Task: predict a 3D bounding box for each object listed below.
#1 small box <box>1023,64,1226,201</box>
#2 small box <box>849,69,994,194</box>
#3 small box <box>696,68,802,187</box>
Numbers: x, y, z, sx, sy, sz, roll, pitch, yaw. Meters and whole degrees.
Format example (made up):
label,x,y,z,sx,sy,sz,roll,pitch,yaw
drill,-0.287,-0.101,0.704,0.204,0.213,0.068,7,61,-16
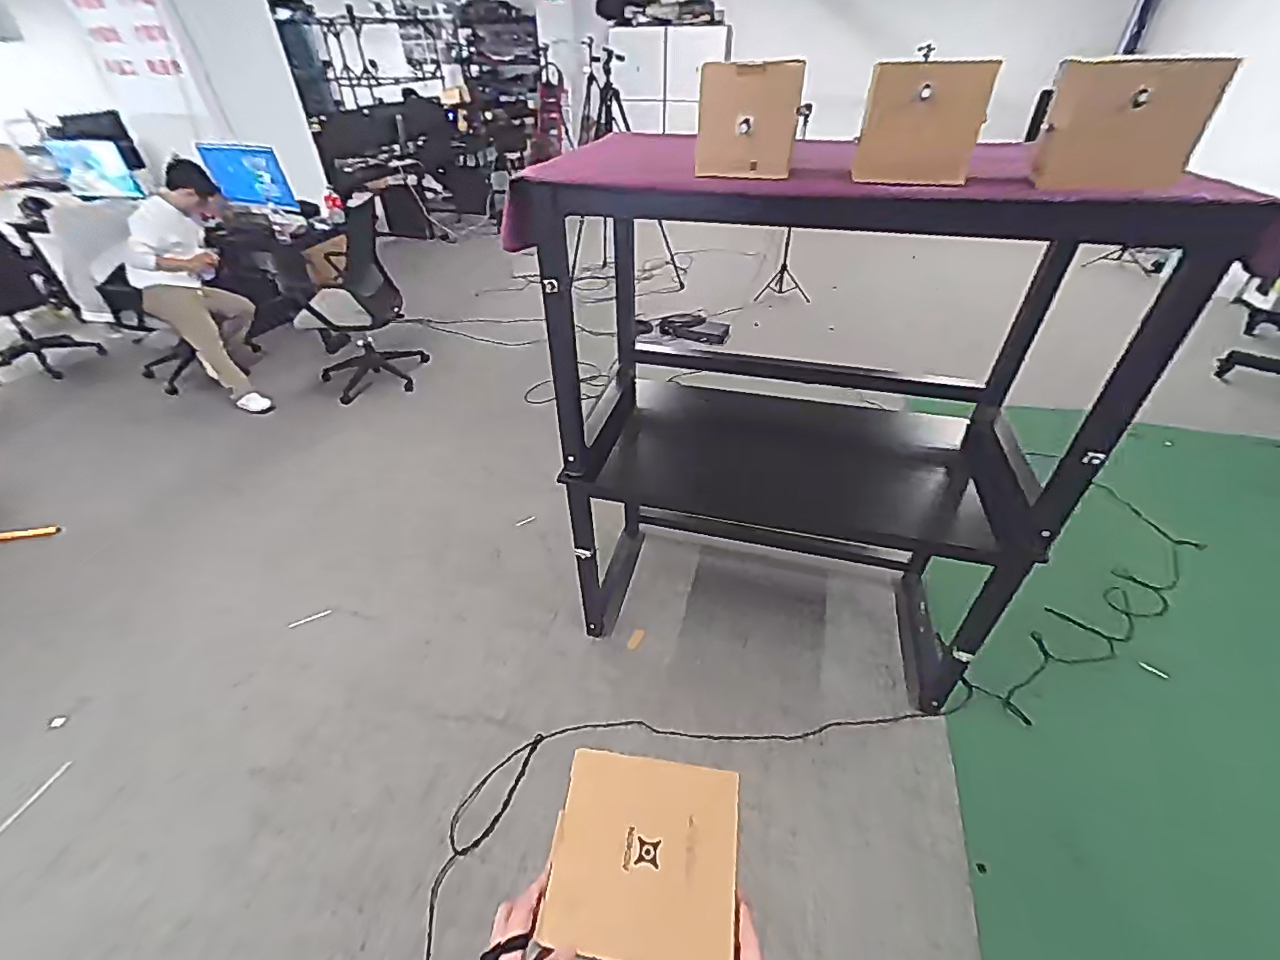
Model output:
label,x,y,z,sx,sy,sz,roll,pitch,yaw
small box,0.746,-0.555,0.865,0.179,0.176,0.168,11,41,16
small box,0.471,-0.603,0.935,0.179,0.176,0.168,9,38,14
small box,0.199,-0.649,0.996,0.168,0.176,0.179,9,38,12
